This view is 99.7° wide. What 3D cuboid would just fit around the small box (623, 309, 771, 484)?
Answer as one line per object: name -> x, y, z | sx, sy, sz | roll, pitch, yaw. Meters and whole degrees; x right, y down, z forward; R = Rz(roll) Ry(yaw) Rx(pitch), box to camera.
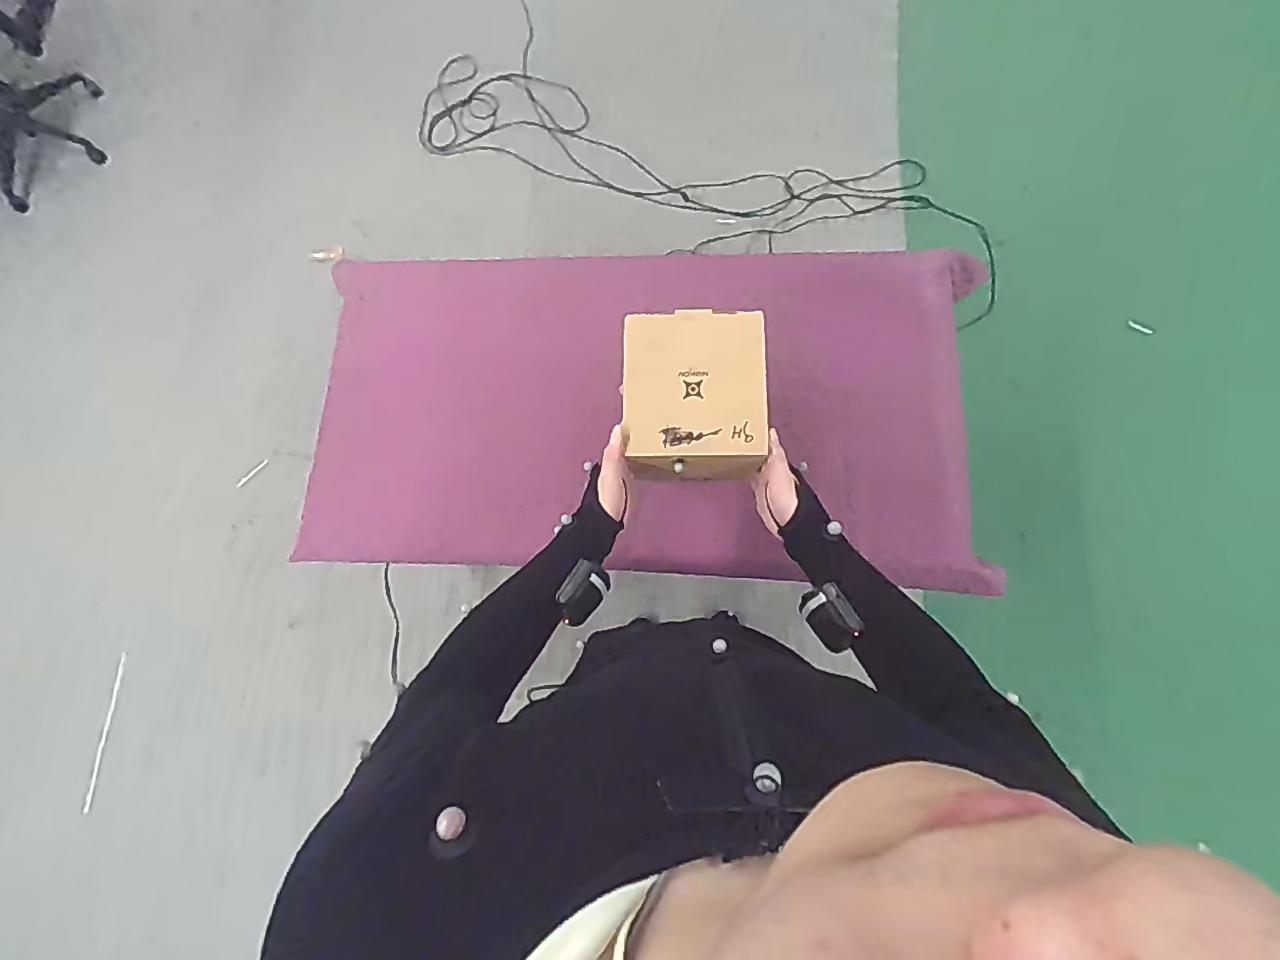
small box -> 0.070, -0.097, 0.688 | 0.168, 0.176, 0.179 | 0, 79, 5
